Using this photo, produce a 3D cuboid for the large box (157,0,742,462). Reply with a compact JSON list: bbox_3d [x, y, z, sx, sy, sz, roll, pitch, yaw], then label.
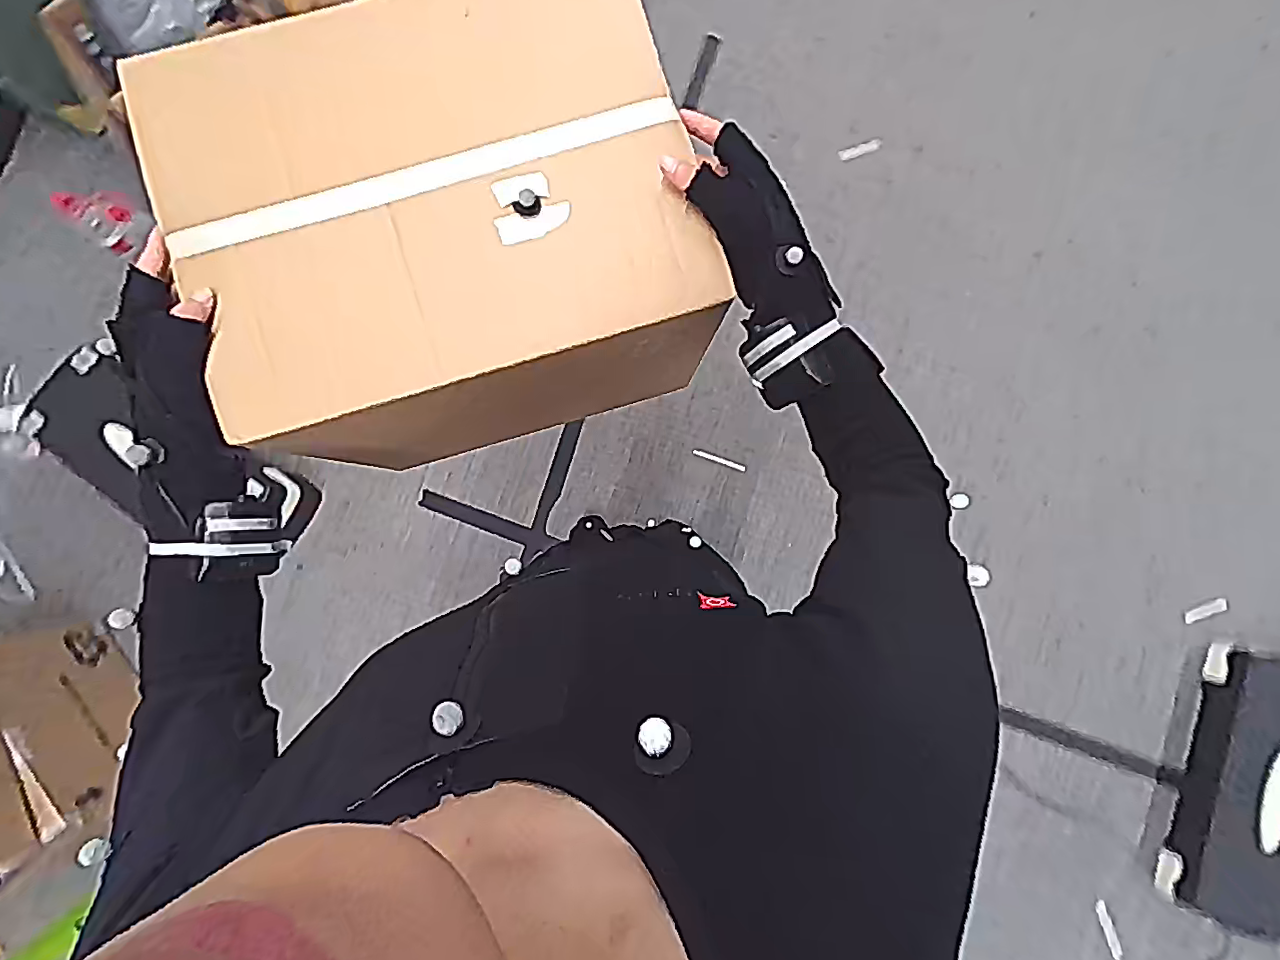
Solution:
[{"bbox_3d":[-0.156,-0.231,0.575,0.408,0.320,0.320,-16,89,-4],"label":"large box"}]
